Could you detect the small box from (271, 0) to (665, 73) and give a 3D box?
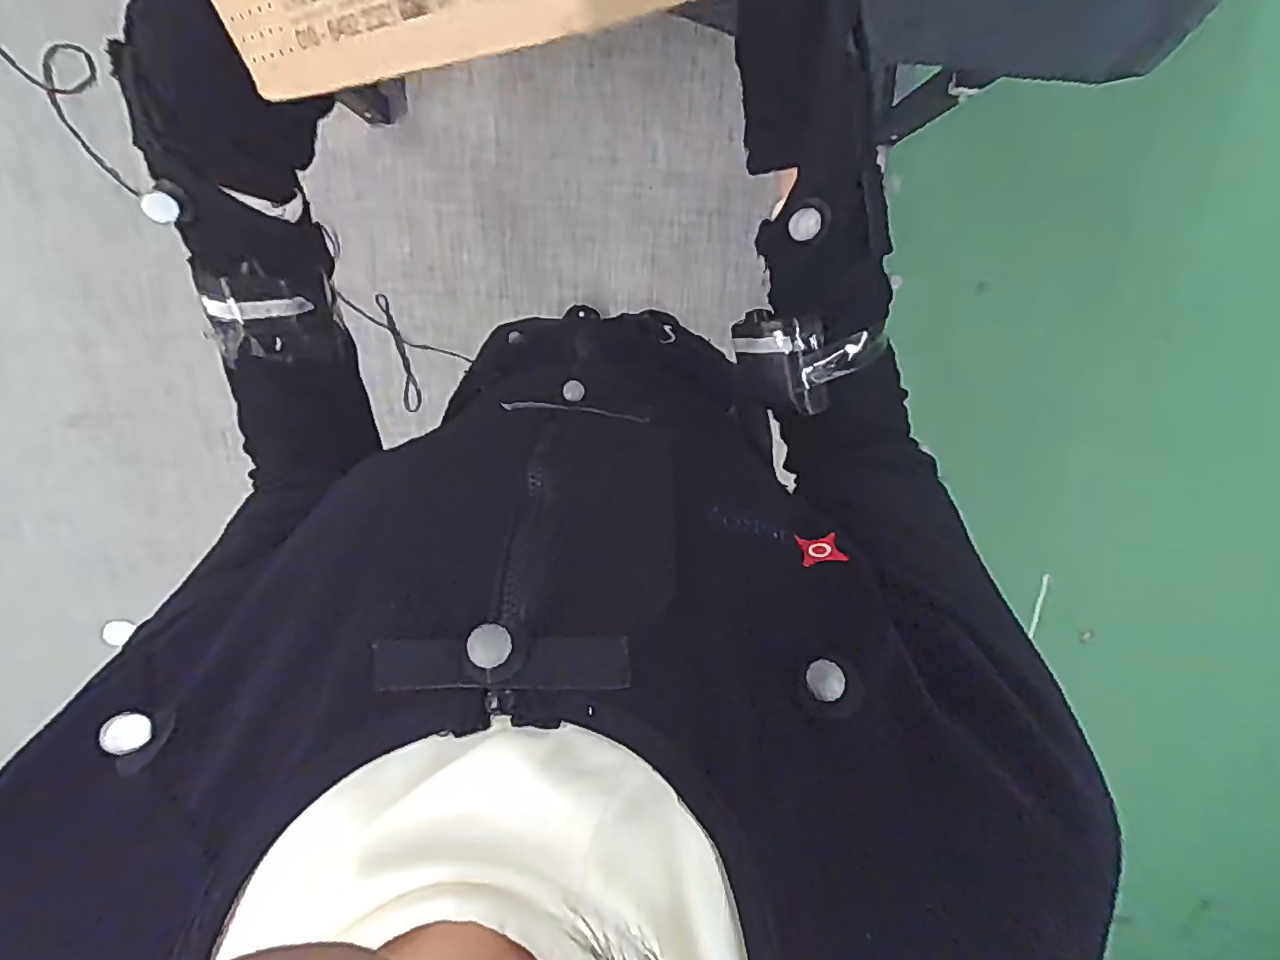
[{"bbox_3d":[-0.057,-0.267,0.193,0.168,0.179,0.176,13,139,27],"label":"small box"}]
